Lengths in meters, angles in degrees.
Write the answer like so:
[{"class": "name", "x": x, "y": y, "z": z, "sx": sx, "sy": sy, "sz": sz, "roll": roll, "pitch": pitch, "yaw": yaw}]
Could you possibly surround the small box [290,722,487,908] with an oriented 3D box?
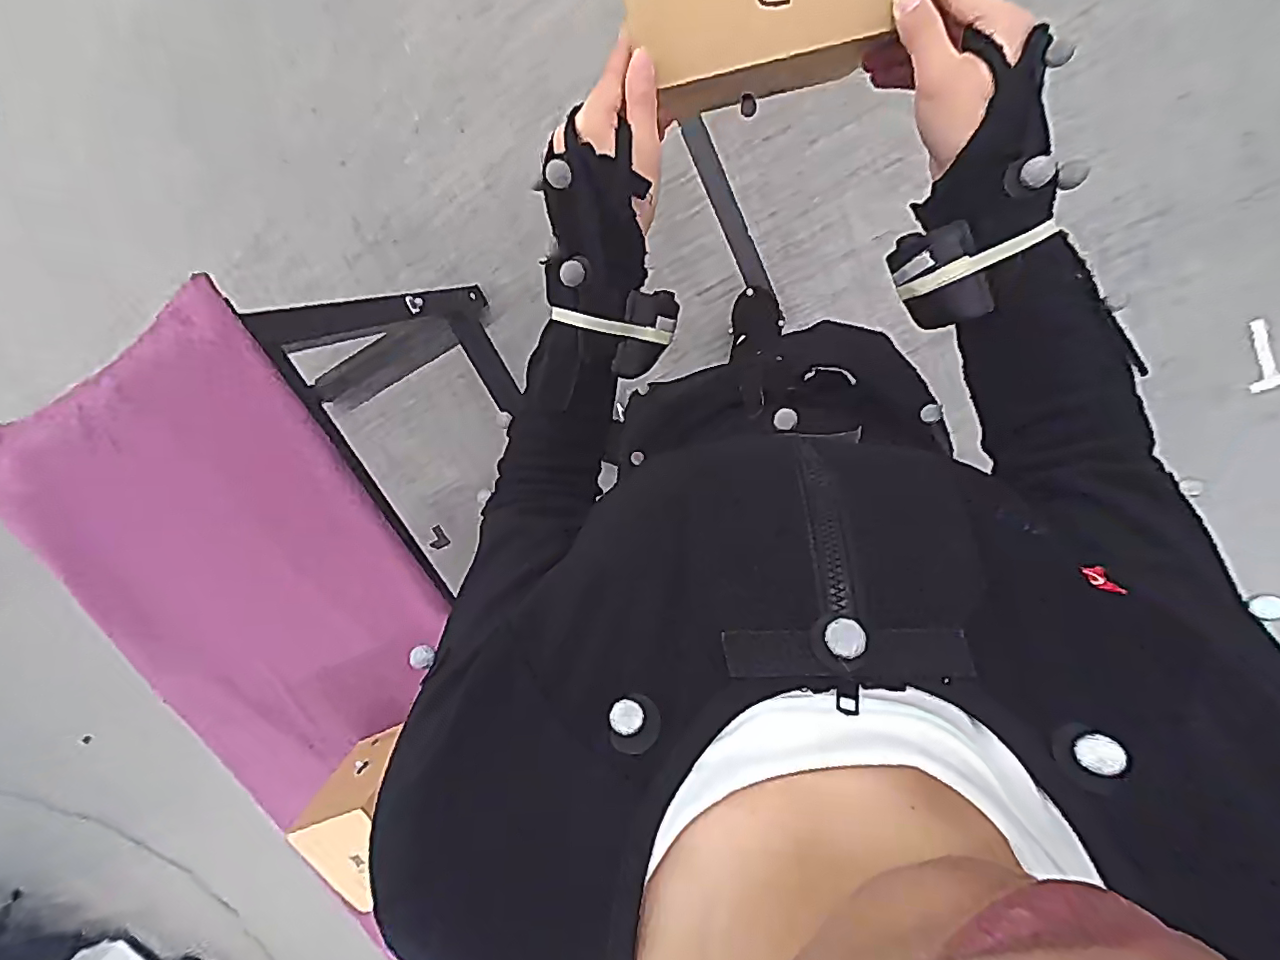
[{"class": "small box", "x": -0.374, "y": 0.503, "z": 0.833, "sx": 0.168, "sy": 0.176, "sz": 0.179, "roll": -28, "pitch": 104, "yaw": 20}]
